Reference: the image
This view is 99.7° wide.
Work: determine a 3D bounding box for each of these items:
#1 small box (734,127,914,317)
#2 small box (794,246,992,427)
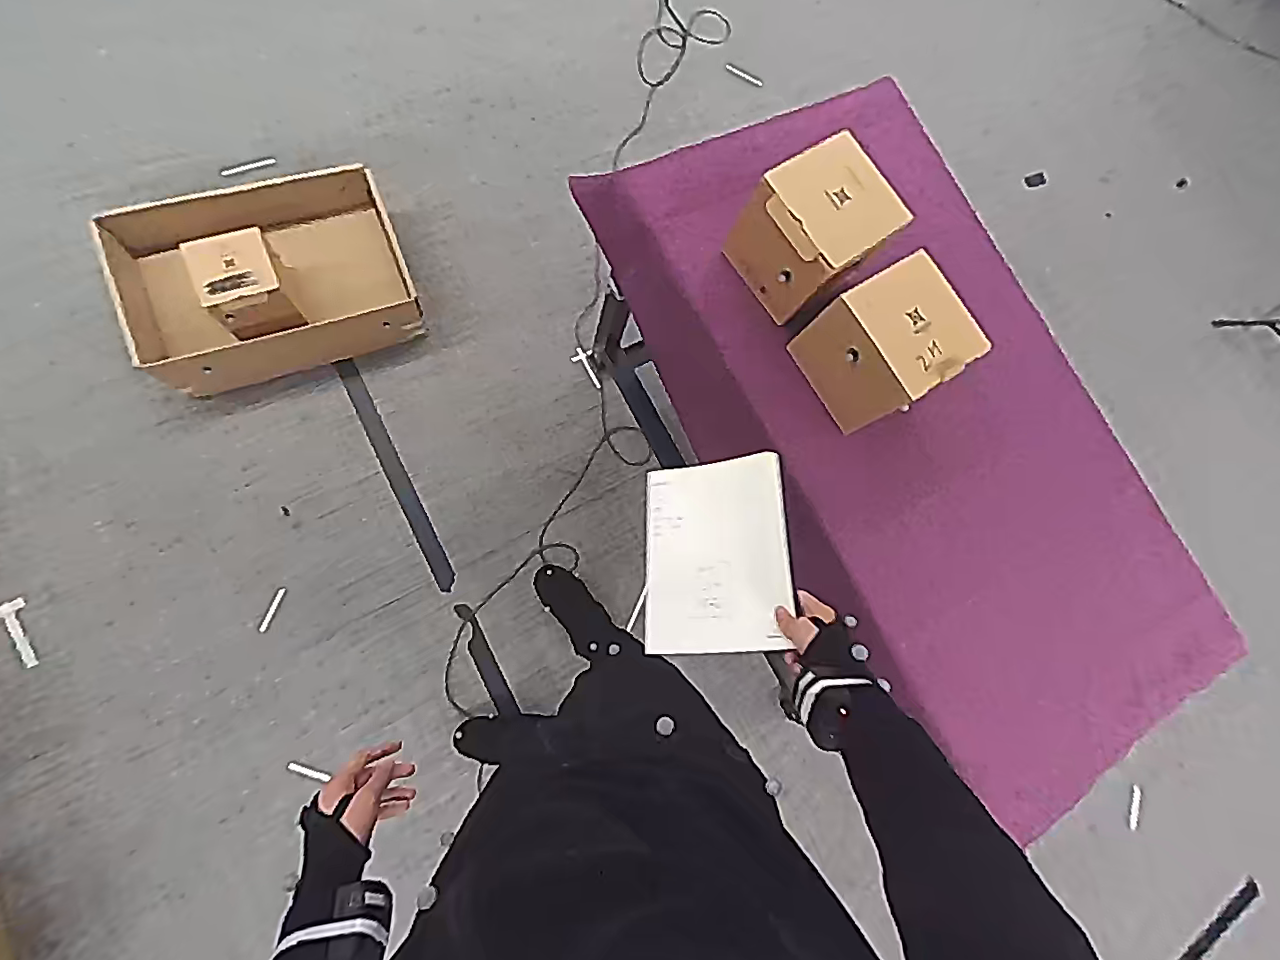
[{"bbox_3d":[0.266,-0.384,0.834,0.179,0.176,0.168,-35,88,-16],"label":"small box"},{"bbox_3d":[0.367,-0.206,0.817,0.168,0.176,0.179,-31,87,-15],"label":"small box"}]
